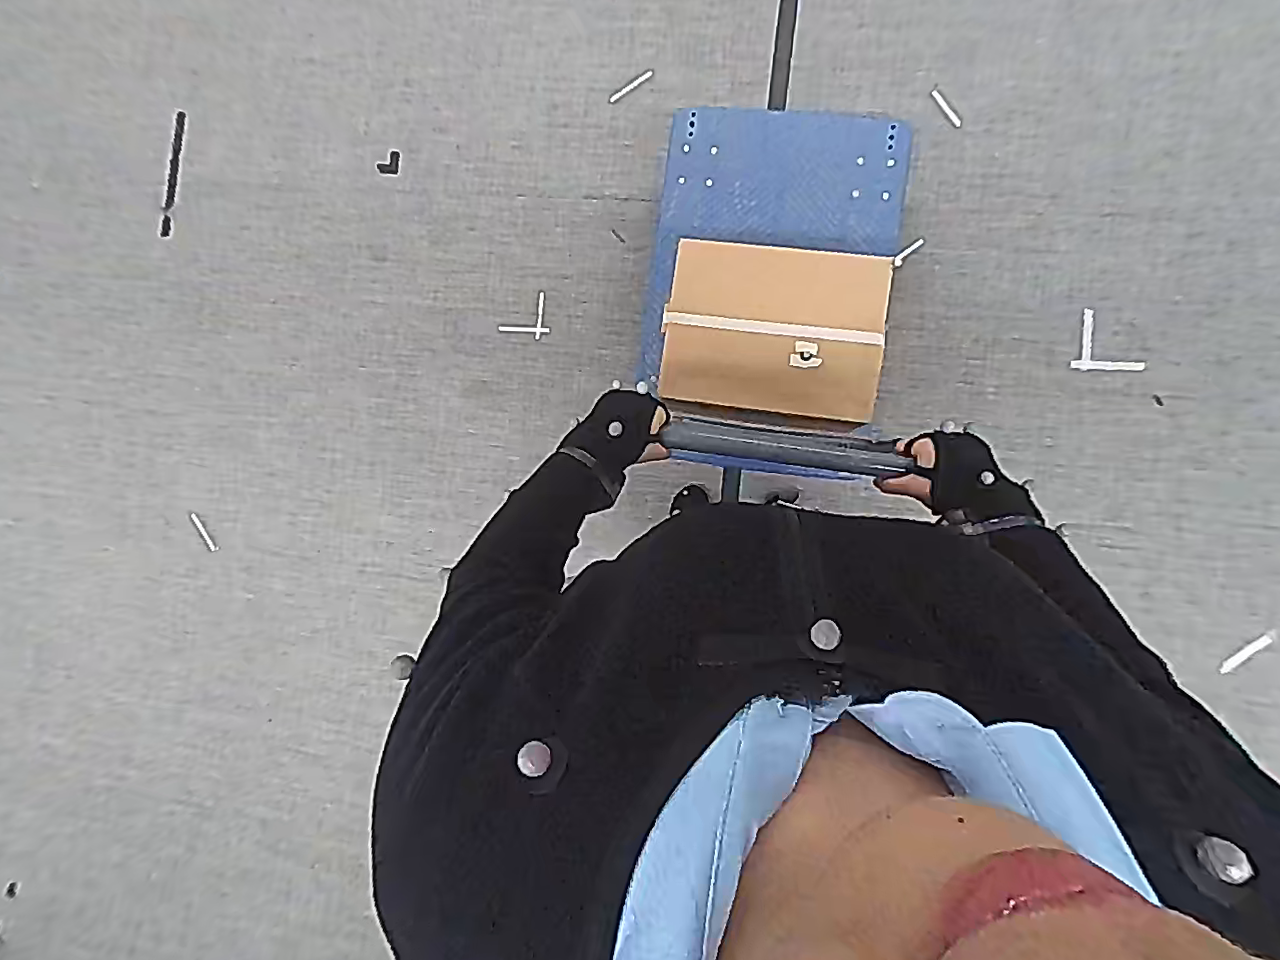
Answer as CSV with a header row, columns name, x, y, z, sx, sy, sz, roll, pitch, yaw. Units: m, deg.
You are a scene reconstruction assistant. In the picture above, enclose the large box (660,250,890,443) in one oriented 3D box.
name,x,y,z,sx,sy,sz,roll,pitch,yaw
large box,0.265,-0.266,1.168,0.408,0.320,0.320,8,90,6
